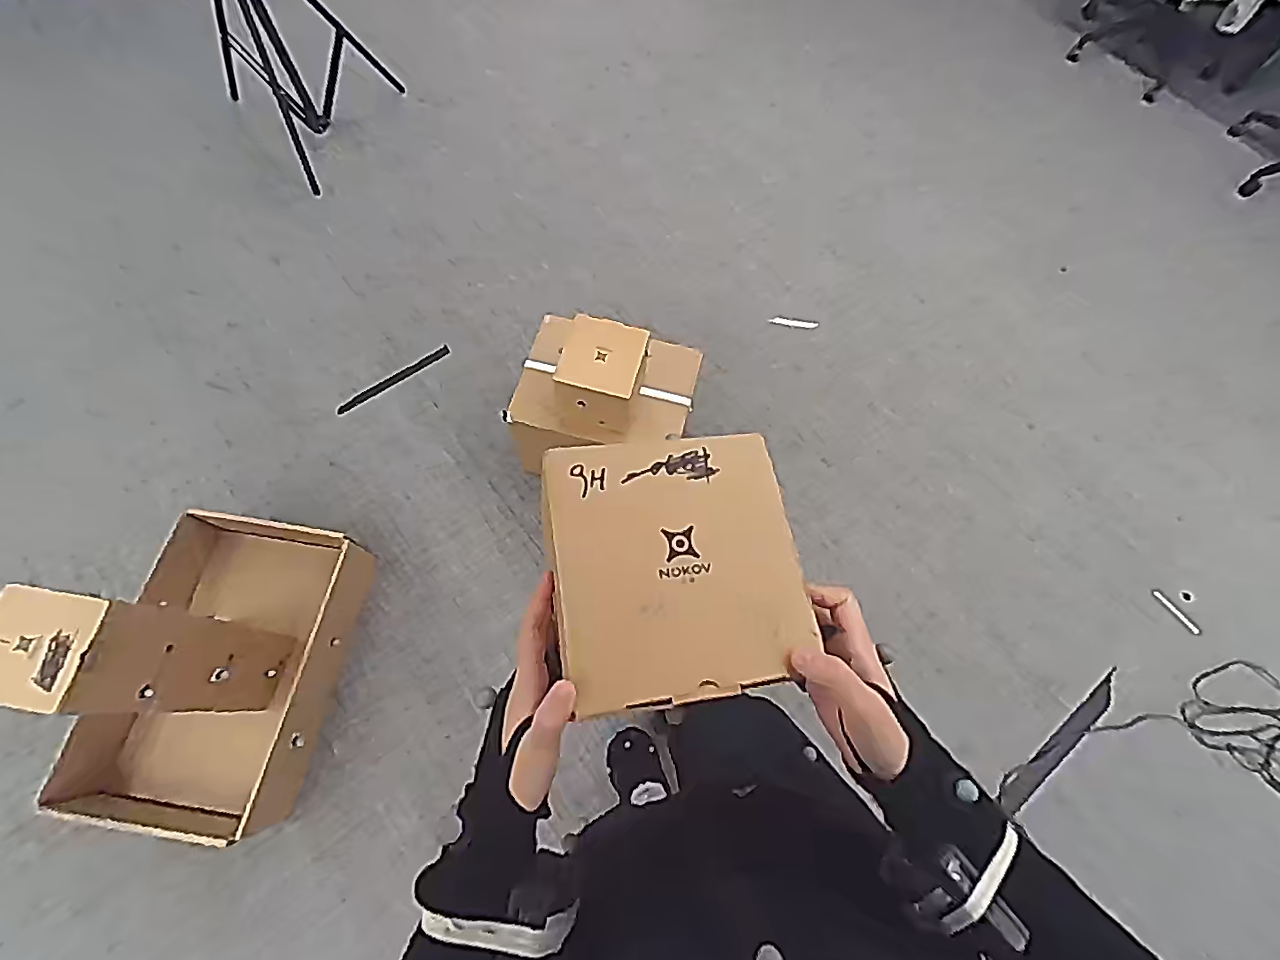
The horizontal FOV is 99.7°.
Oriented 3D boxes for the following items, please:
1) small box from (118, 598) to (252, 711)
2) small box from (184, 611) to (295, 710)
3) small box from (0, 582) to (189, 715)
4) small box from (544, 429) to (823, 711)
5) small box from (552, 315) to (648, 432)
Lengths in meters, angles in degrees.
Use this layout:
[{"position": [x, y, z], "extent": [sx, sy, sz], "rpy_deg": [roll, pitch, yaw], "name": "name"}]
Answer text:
[{"position": [-0.900, 0.335, 1.027], "extent": [0.179, 0.176, 0.168], "rpy_deg": [11, 69, 1], "name": "small box"}, {"position": [-0.906, 0.397, 1.176], "extent": [0.179, 0.176, 0.168], "rpy_deg": [12, 68, 2], "name": "small box"}, {"position": [-0.897, 0.274, 0.874], "extent": [0.179, 0.176, 0.168], "rpy_deg": [9, 68, 2], "name": "small box"}, {"position": [0.013, 0.077, 0.433], "extent": [0.168, 0.176, 0.179], "rpy_deg": [-5, 68, -13], "name": "small box"}, {"position": [-0.084, -0.228, 1.195], "extent": [0.168, 0.176, 0.179], "rpy_deg": [14, 68, 2], "name": "small box"}]
